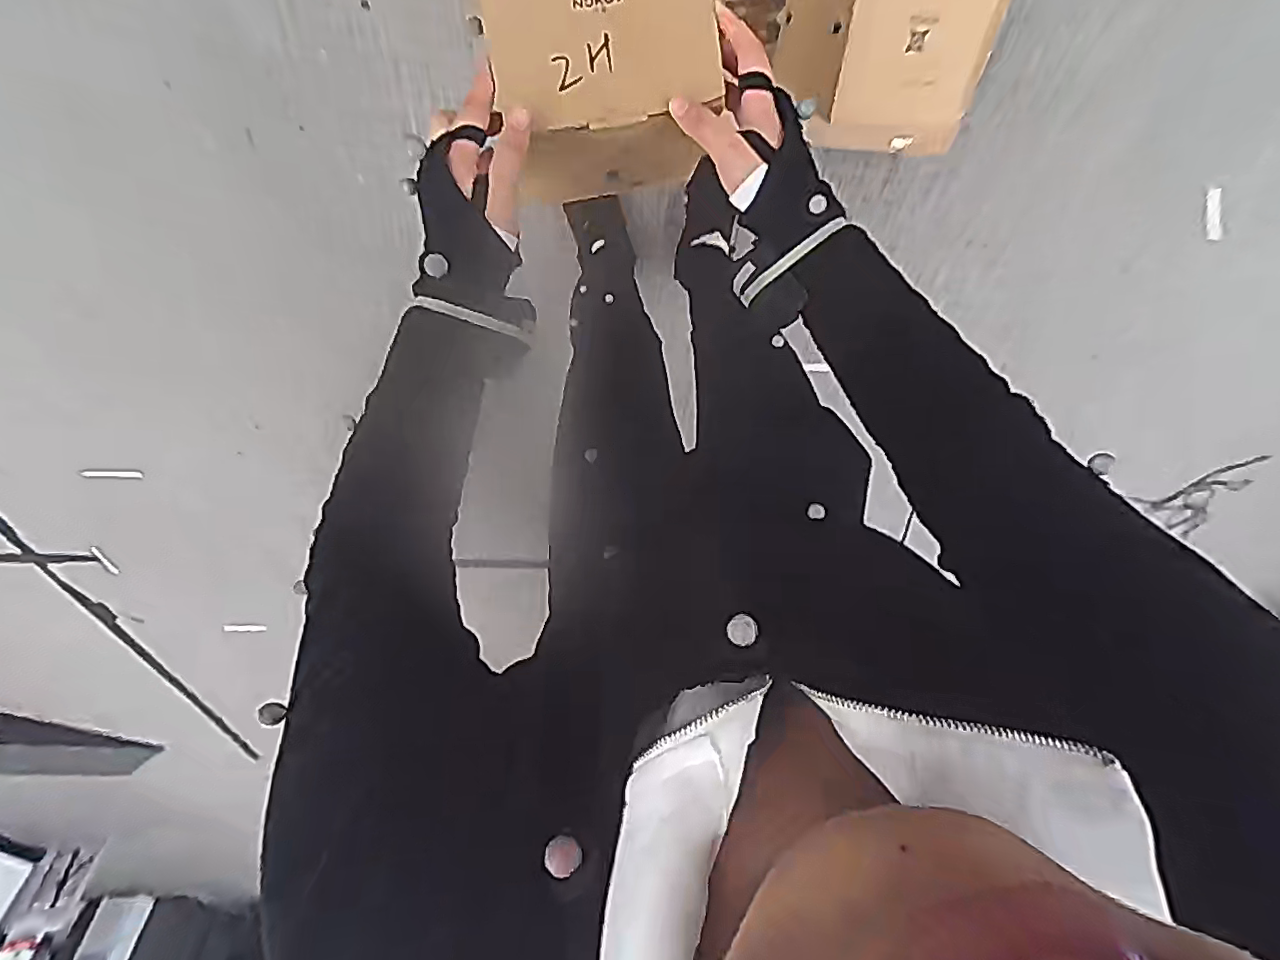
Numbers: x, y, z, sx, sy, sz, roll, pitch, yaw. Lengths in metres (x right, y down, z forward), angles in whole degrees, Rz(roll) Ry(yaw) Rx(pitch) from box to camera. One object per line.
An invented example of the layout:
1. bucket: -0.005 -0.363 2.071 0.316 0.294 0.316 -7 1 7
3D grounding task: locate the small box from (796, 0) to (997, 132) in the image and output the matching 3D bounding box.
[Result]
1. small box: 0.312 -0.561 0.687 0.168 0.176 0.179 -2 133 -3

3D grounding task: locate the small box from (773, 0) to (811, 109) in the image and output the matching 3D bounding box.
1. small box: 0.308 -0.672 0.807 0.168 0.176 0.179 -1 133 -5
